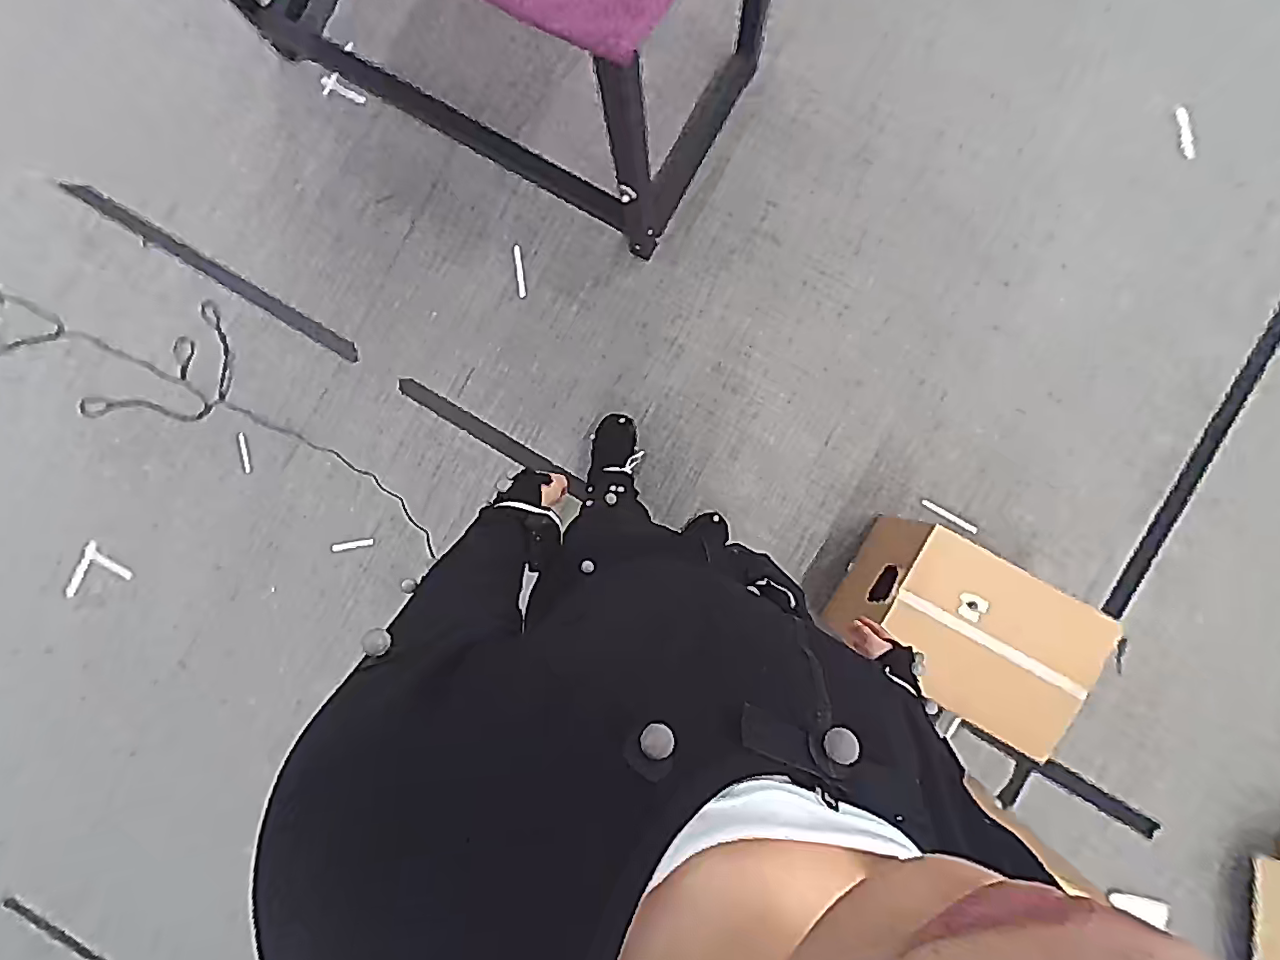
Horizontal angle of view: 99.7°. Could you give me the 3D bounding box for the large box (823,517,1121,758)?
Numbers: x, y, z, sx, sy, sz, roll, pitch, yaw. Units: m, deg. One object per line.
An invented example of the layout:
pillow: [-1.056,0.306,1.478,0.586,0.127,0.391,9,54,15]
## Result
large box: [0.690,0.314,1.198,0.408,0.320,0.320,29,91,5]
